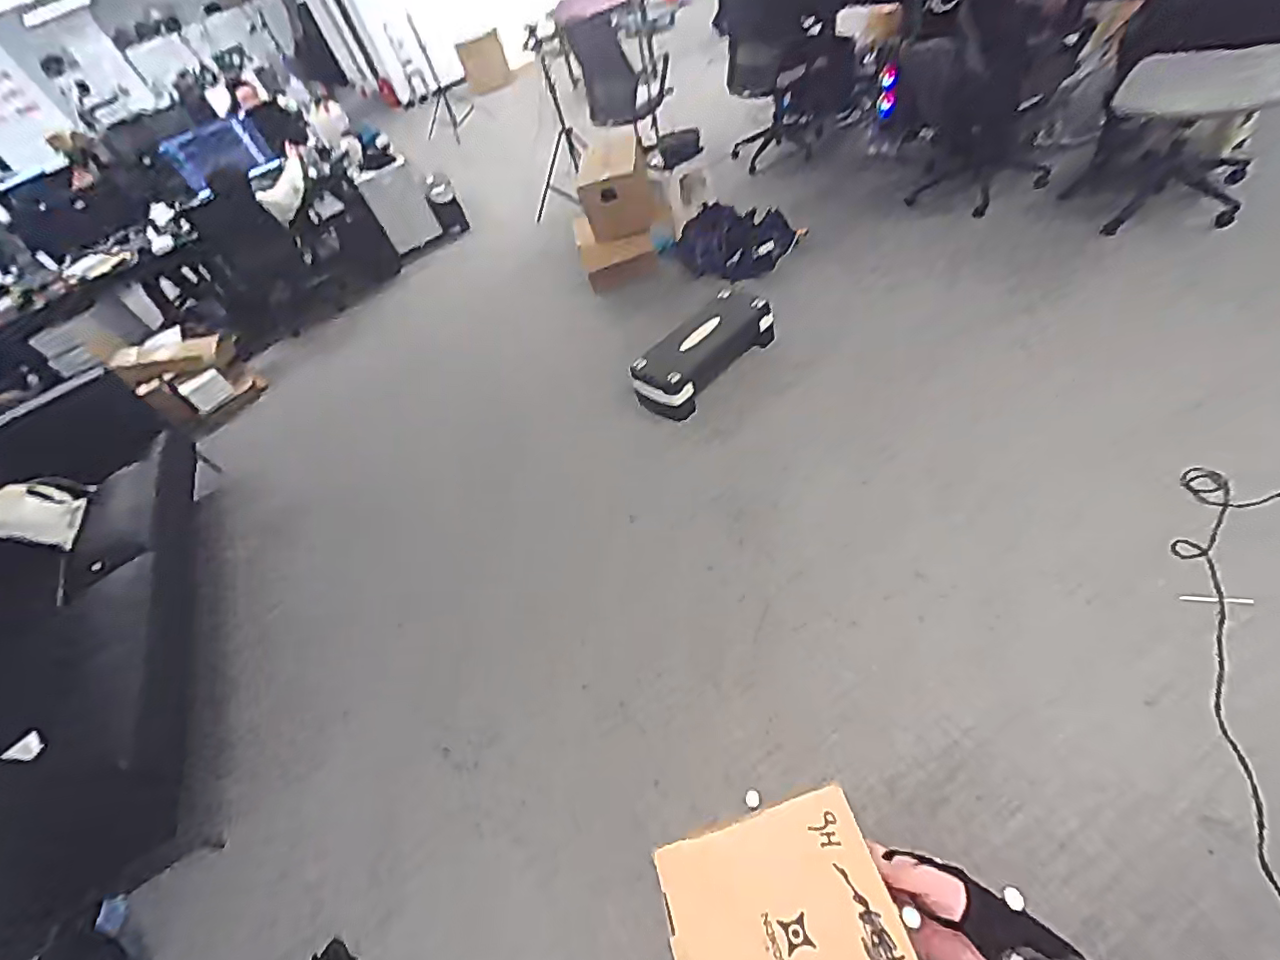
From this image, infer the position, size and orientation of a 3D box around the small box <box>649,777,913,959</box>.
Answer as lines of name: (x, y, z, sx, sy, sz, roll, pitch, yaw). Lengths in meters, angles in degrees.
small box: (0.131, 0.386, 0.490, 0.179, 0.176, 0.168, -24, 58, 7)
